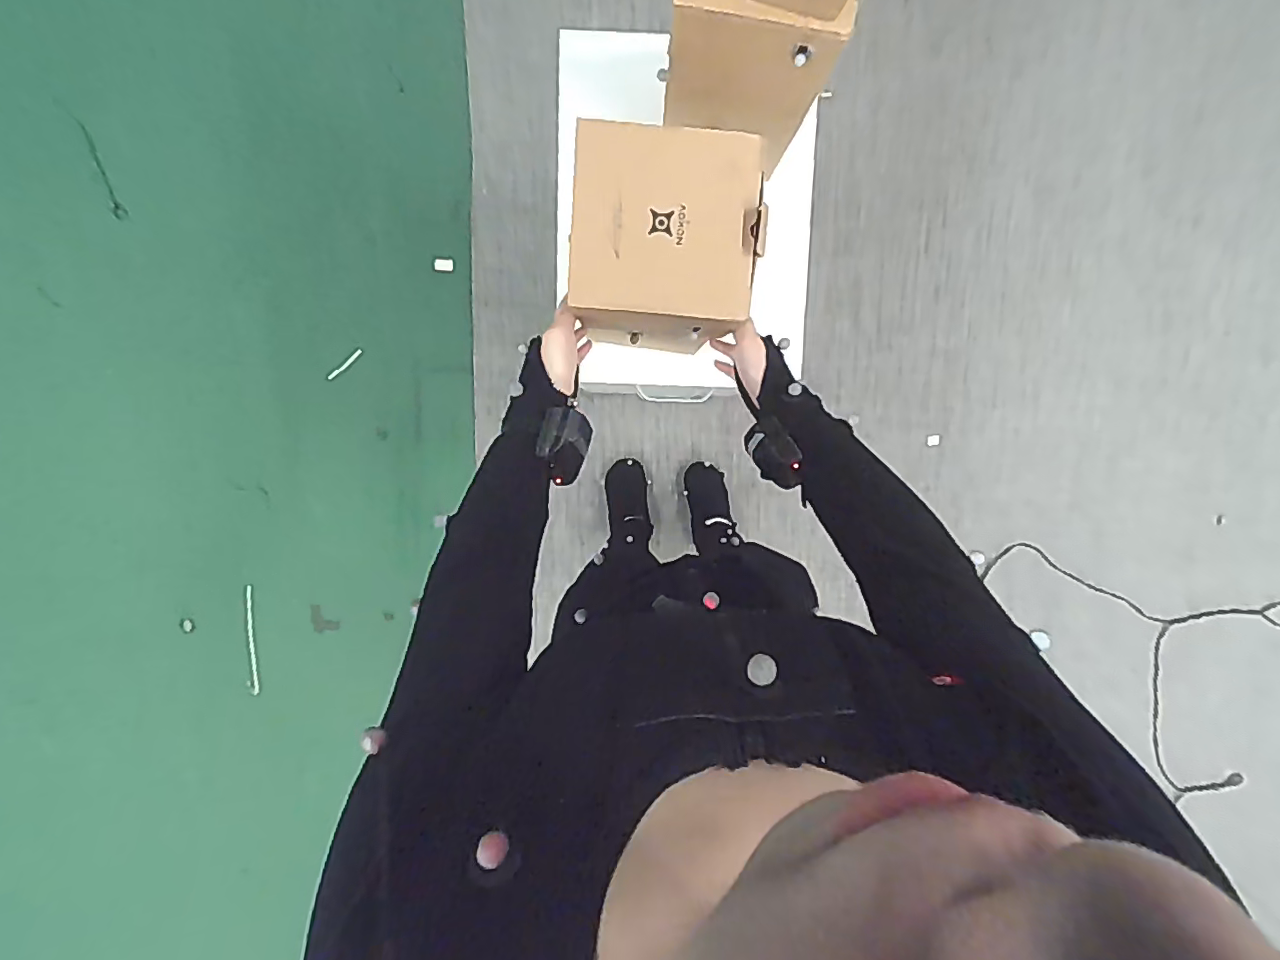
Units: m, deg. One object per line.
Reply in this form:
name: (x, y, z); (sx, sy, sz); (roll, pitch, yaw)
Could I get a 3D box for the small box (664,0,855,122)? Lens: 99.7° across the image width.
small box: (0.124, -0.523, 0.583); (0.179, 0.176, 0.168); (8, 96, -2)

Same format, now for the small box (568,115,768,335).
small box: (0.023, -0.251, 0.575); (0.179, 0.176, 0.168); (4, 98, -1)

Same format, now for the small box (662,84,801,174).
small box: (0.126, -0.544, 0.744); (0.179, 0.176, 0.168); (9, 97, -1)

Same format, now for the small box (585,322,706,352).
small box: (0.014, -0.284, 0.769); (0.179, 0.176, 0.168); (7, 95, -3)
